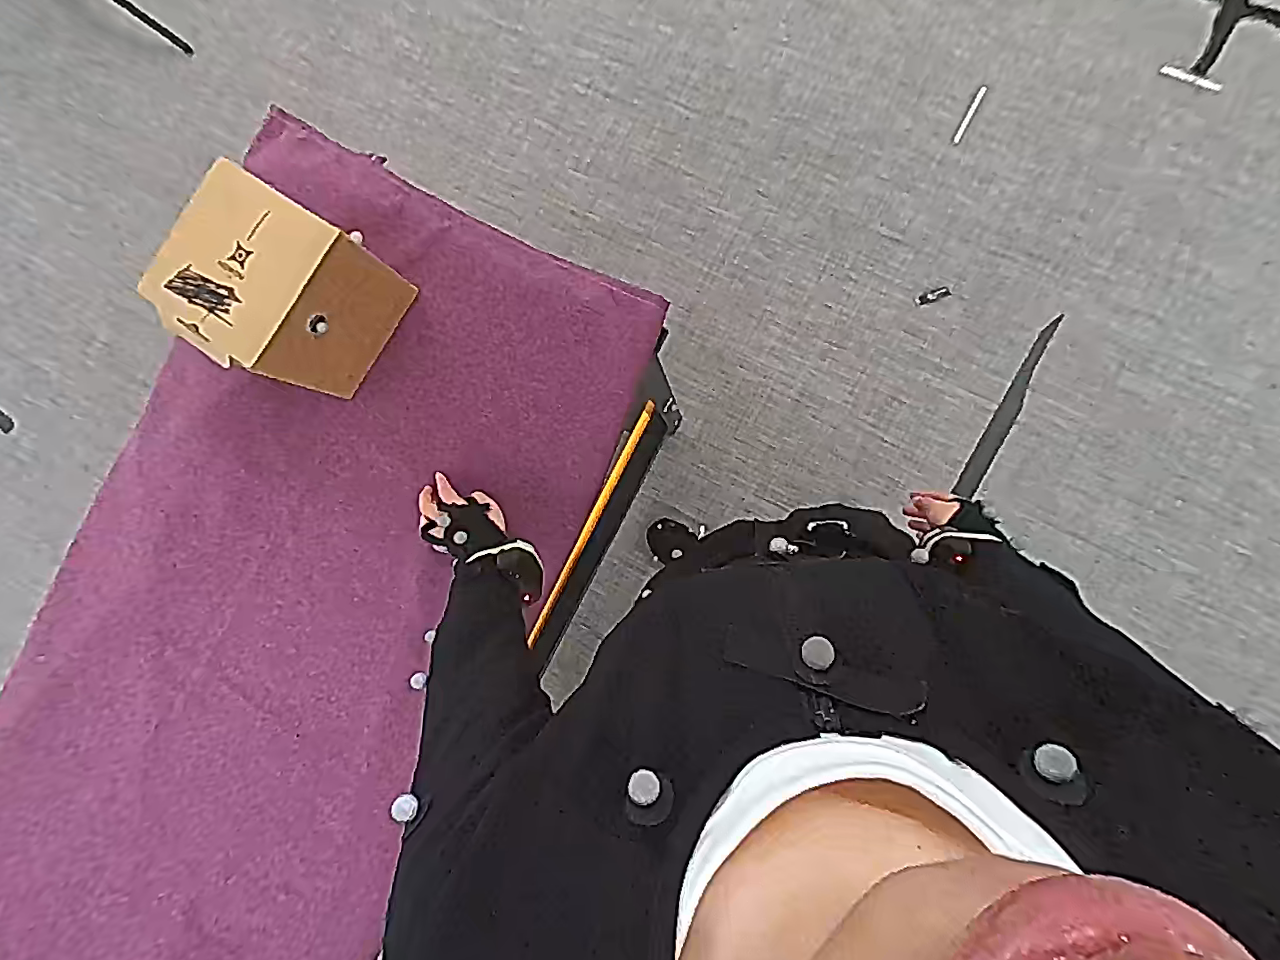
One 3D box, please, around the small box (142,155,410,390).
[{"bbox_3d":[-0.416,-0.230,0.651,0.168,0.176,0.179,33,91,5],"label":"small box"}]
